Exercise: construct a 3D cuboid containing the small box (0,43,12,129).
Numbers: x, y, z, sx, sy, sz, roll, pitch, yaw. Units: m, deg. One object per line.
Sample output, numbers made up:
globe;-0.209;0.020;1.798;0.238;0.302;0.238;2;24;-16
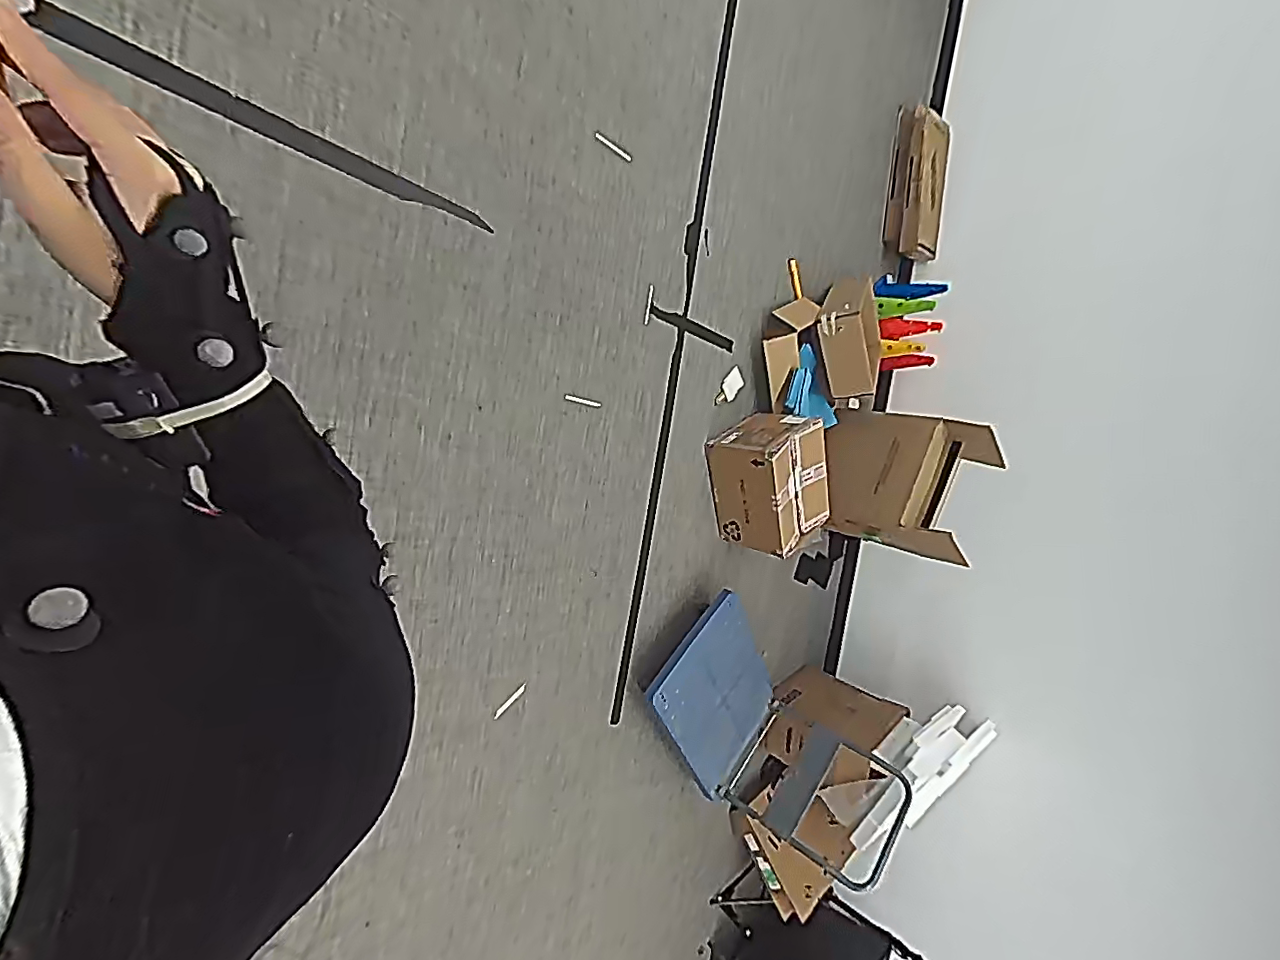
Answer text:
small box;-0.381;-0.254;0.201;0.179;0.176;0.168;-10;110;-47
